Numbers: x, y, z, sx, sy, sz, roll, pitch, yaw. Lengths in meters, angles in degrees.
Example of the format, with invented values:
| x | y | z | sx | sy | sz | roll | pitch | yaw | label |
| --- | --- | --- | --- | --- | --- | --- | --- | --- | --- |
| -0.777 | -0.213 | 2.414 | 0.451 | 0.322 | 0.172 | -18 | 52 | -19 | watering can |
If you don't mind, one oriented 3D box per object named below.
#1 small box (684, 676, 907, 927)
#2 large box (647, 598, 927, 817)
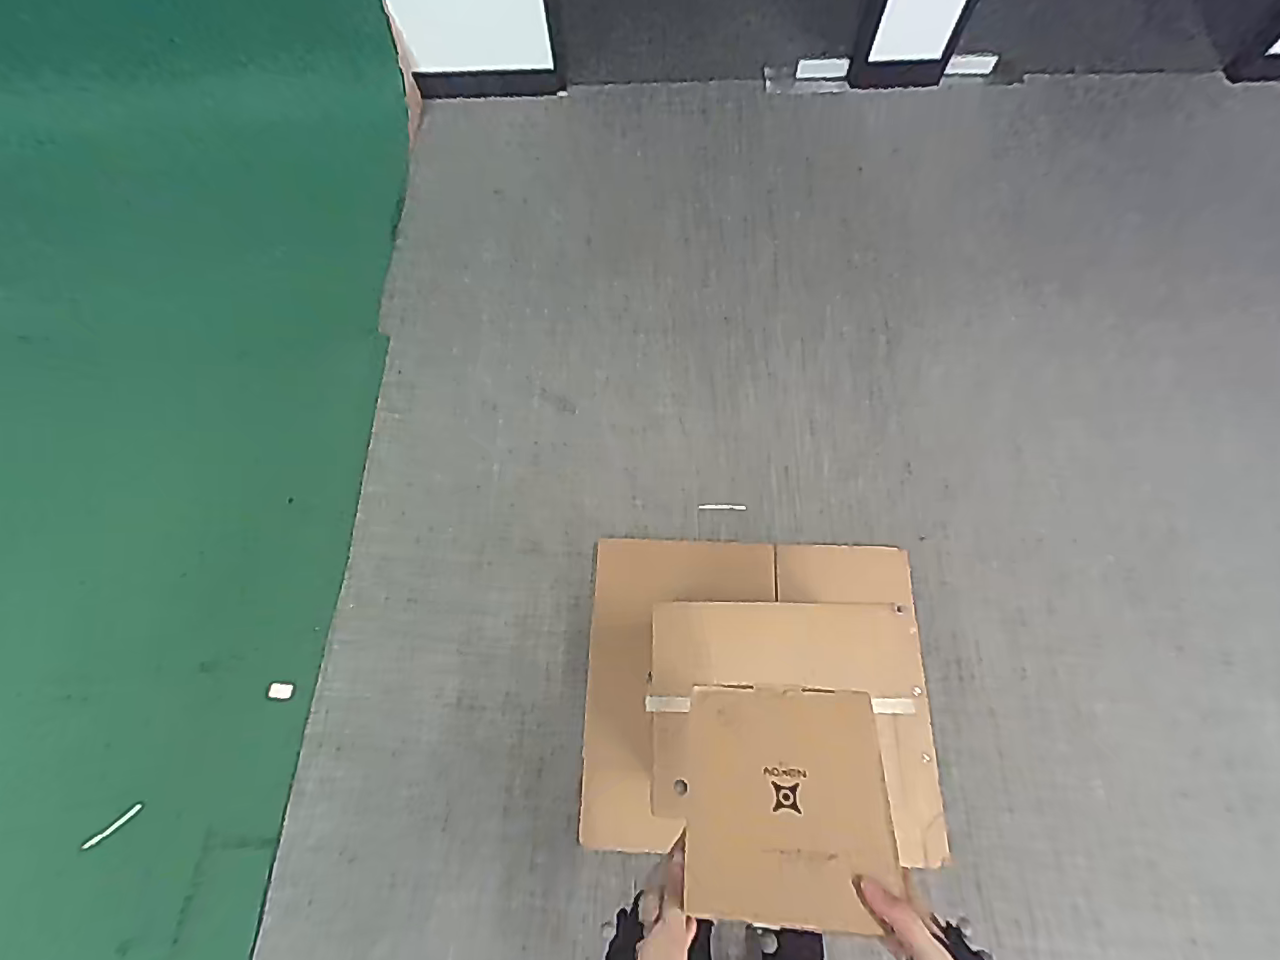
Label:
| x | y | z | sx | sy | sz | roll | pitch | yaw | label |
| --- | --- | --- | --- | --- | --- | --- | --- | --- | --- |
| 0.131 | 0.306 | 0.517 | 0.168 | 0.176 | 0.179 | -1 | 51 | 9 | small box |
| 0.217 | 0.394 | 0.971 | 0.408 | 0.320 | 0.320 | 0 | 70 | 0 | large box |
